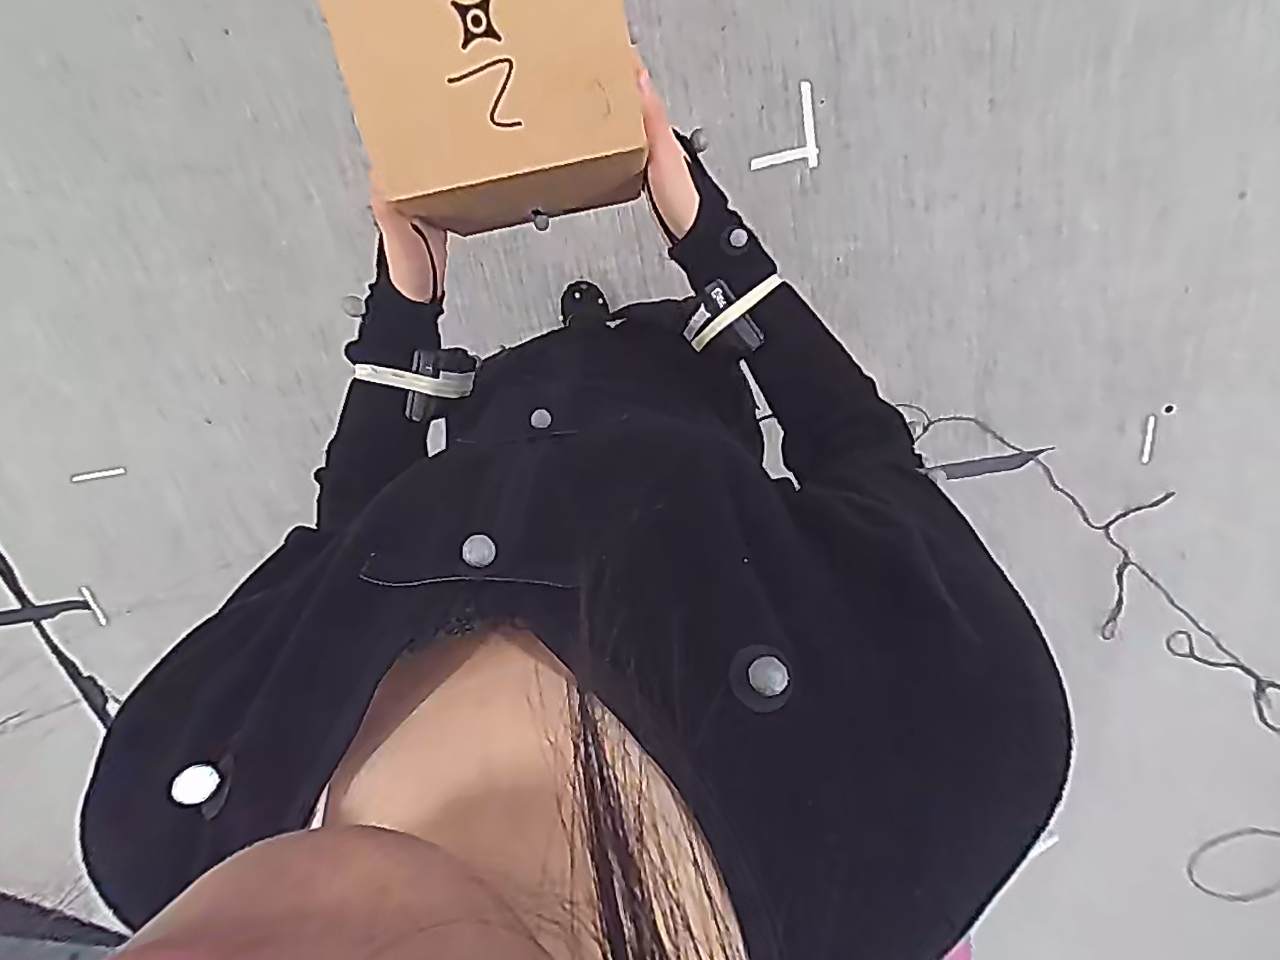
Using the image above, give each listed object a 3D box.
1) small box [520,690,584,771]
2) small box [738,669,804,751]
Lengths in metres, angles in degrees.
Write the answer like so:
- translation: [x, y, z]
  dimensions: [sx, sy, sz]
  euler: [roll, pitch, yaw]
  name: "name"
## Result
- translation: [-0.277, 0.794, 1.724]
  dimensions: [0.179, 0.176, 0.168]
  euler: [6, 109, -5]
  name: "small box"
- translation: [0.410, 0.719, 1.713]
  dimensions: [0.168, 0.176, 0.179]
  euler: [-9, 111, 2]
  name: "small box"
